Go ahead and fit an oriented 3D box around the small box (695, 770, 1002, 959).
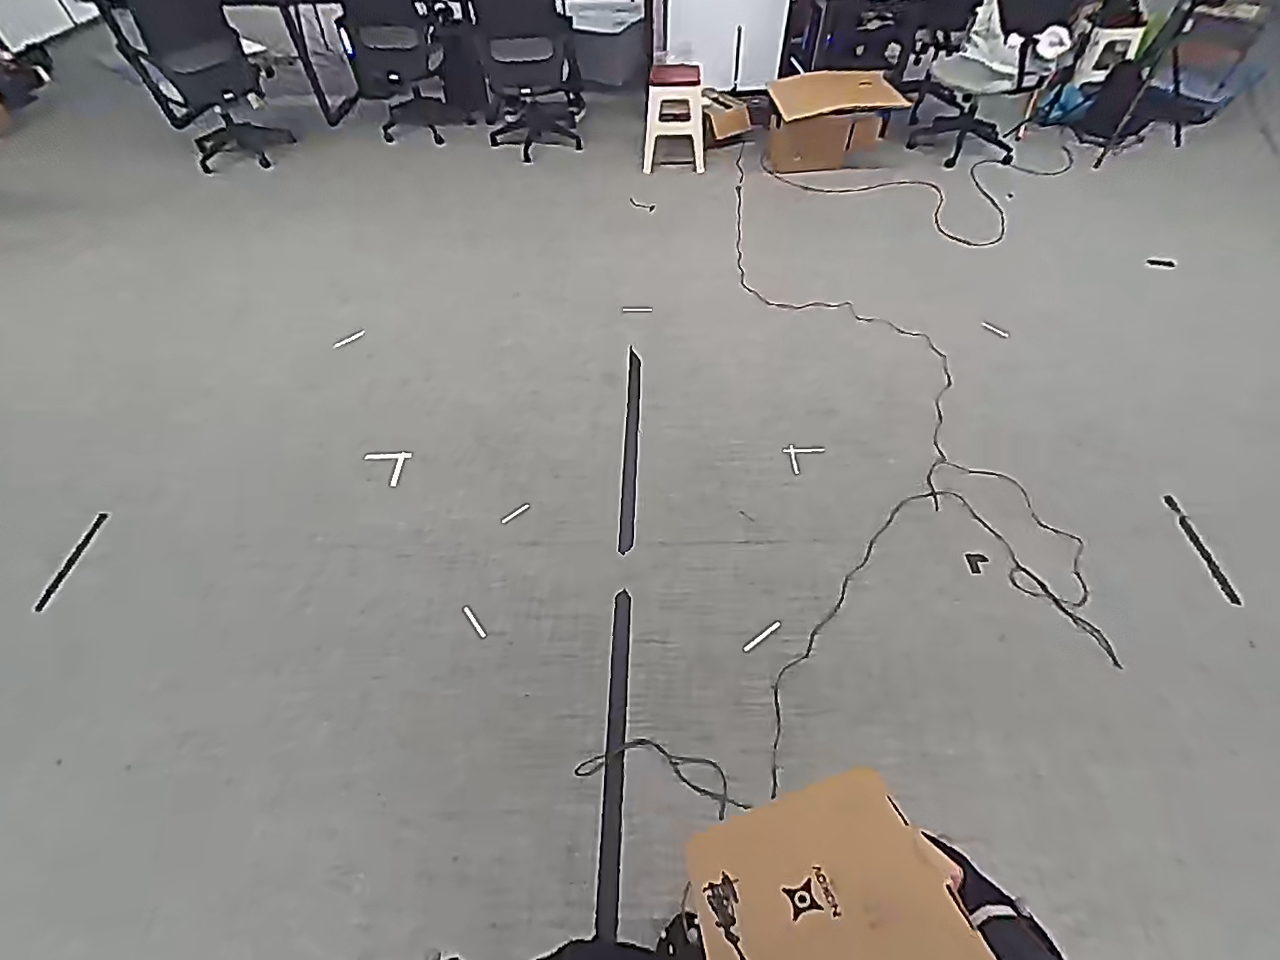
[{"bbox_3d":[0.163,0.379,0.423,0.179,0.176,0.168,-22,17,0],"label":"small box"}]
